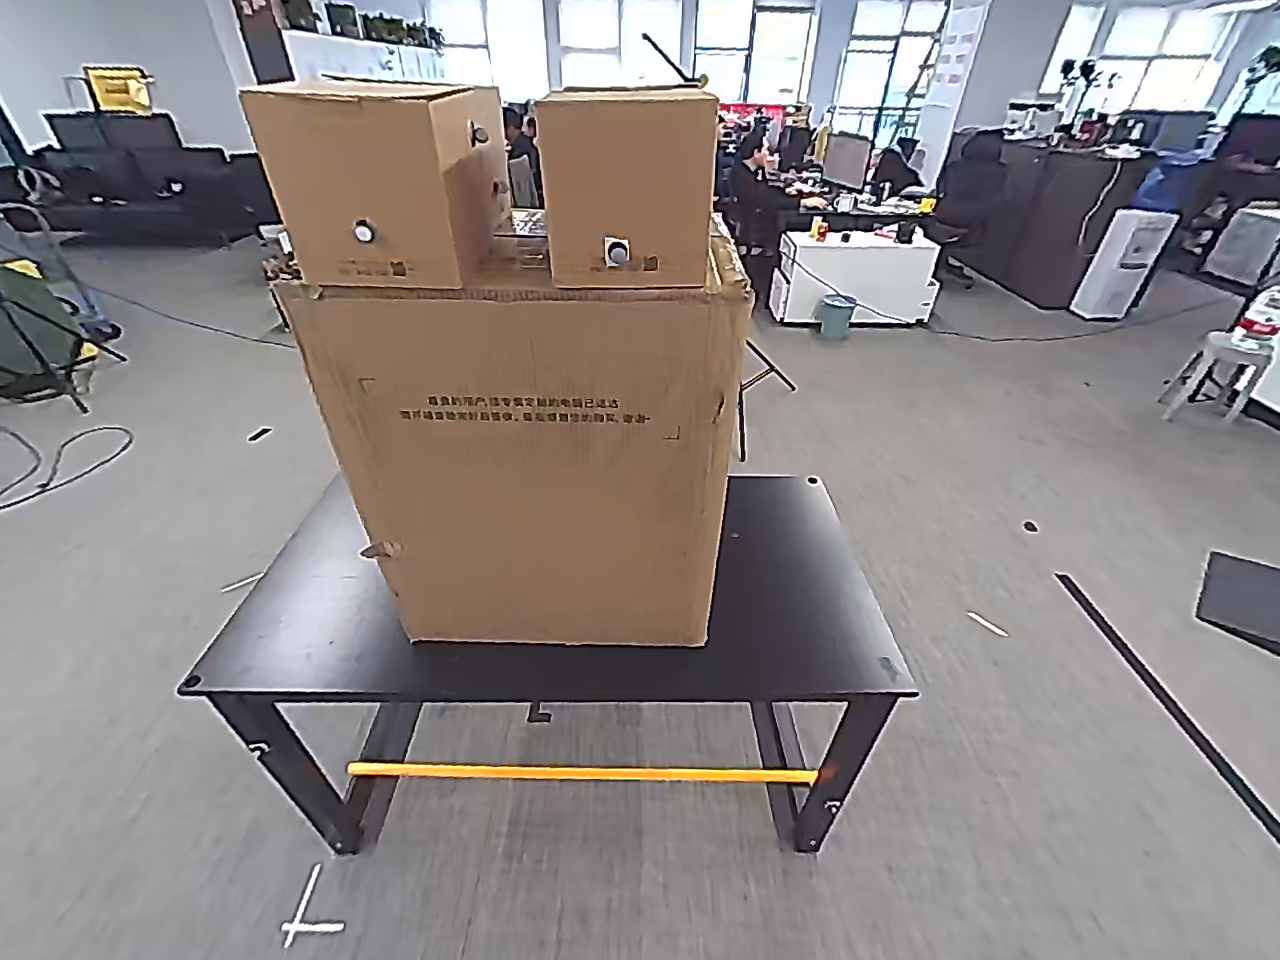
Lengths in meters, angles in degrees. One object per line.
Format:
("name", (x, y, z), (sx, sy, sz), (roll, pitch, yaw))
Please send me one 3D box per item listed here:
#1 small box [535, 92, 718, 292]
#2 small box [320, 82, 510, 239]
("small box", (-0.014, -0.315, 0.589), (0.168, 0.176, 0.179), (-3, 38, -1))
("small box", (-0.288, -0.435, 0.739), (0.179, 0.176, 0.168), (2, 36, -1))
